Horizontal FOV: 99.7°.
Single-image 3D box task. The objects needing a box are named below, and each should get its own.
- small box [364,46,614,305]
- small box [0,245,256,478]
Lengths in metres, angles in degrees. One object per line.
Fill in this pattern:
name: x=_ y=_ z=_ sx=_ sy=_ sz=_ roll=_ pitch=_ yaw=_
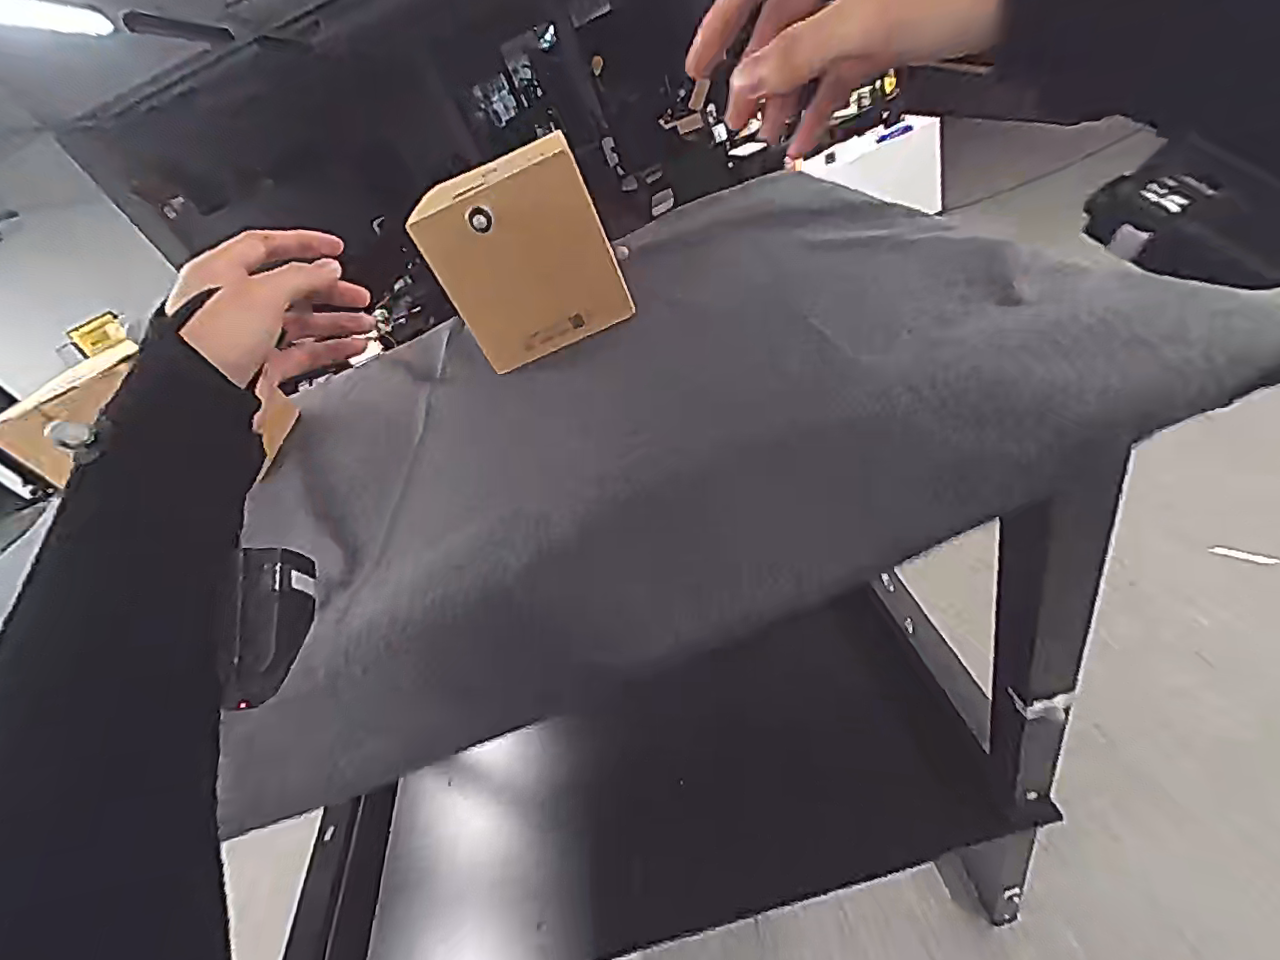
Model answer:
small box: x=-0.137 y=-0.304 z=0.552 sx=0.168 sy=0.176 sz=0.179 roll=-22 pitch=38 yaw=6
small box: x=-0.572 y=-0.123 z=0.591 sx=0.168 sy=0.176 sz=0.179 roll=-24 pitch=38 yaw=2
